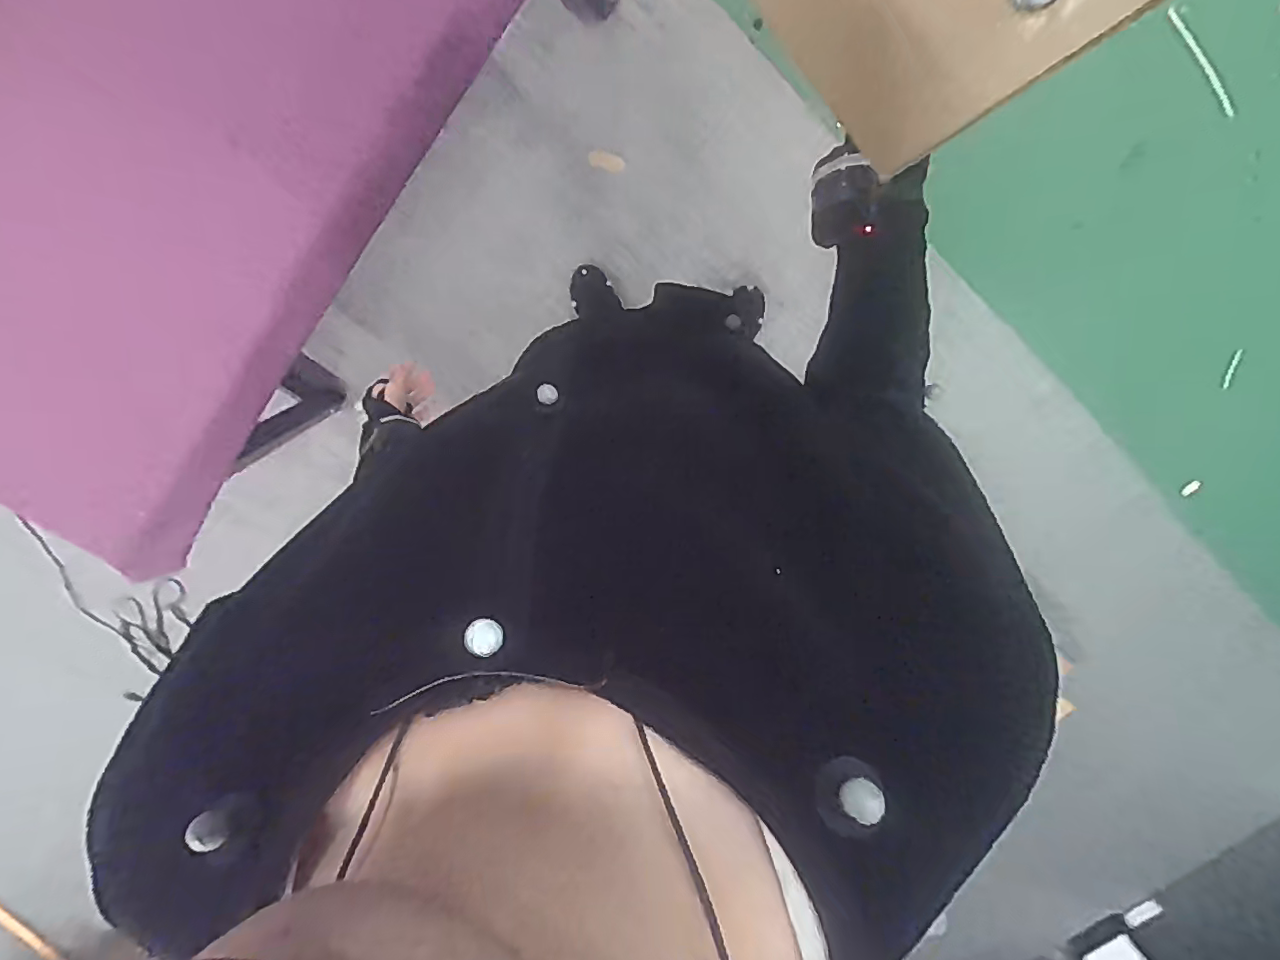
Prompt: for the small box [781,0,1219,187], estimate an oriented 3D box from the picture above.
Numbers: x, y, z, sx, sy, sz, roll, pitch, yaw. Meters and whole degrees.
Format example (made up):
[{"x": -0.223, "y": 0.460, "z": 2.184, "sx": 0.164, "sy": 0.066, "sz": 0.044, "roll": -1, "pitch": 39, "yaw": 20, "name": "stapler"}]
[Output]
[{"x": 0.163, "y": -0.290, "z": 0.242, "sx": 0.176, "sy": 0.168, "sz": 0.179, "roll": 33, "pitch": 149, "yaw": -29, "name": "small box"}]
